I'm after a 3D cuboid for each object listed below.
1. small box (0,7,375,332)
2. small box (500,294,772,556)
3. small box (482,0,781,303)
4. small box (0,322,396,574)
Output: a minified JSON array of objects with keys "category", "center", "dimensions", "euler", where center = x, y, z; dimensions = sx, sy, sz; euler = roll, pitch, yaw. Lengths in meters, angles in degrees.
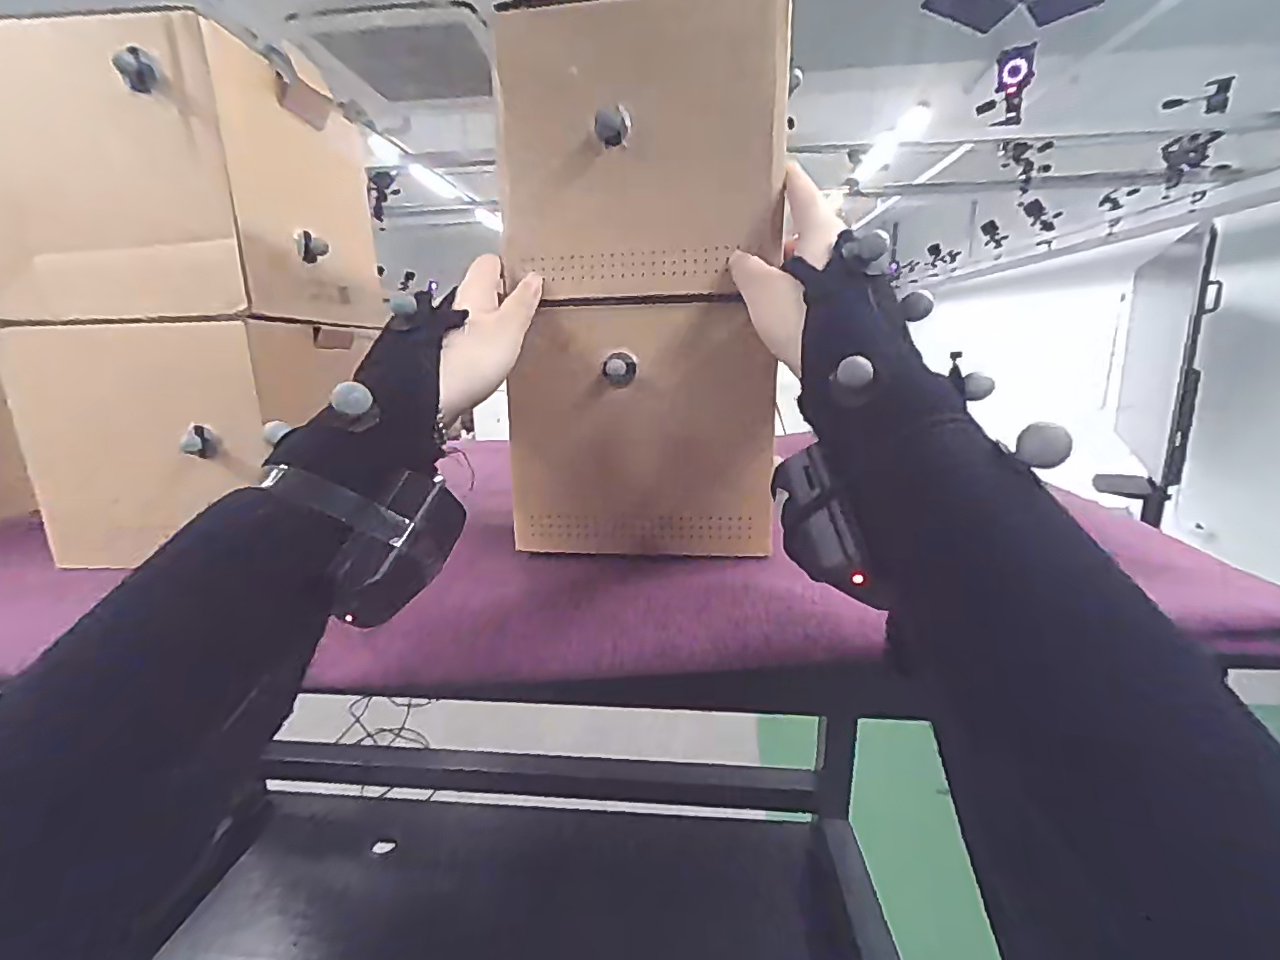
[{"category":"small box","center":[-0.324,-0.192,0.394],"dimensions":[0.179,0.176,0.168],"euler":[-1,13,2]},{"category":"small box","center":[0.006,-0.043,0.426],"dimensions":[0.179,0.176,0.168],"euler":[1,11,6]},{"category":"small box","center":[0.006,-0.204,0.394],"dimensions":[0.179,0.176,0.168],"euler":[0,11,8]},{"category":"small box","center":[-0.318,-0.032,0.428],"dimensions":[0.179,0.176,0.168],"euler":[-1,13,3]}]
